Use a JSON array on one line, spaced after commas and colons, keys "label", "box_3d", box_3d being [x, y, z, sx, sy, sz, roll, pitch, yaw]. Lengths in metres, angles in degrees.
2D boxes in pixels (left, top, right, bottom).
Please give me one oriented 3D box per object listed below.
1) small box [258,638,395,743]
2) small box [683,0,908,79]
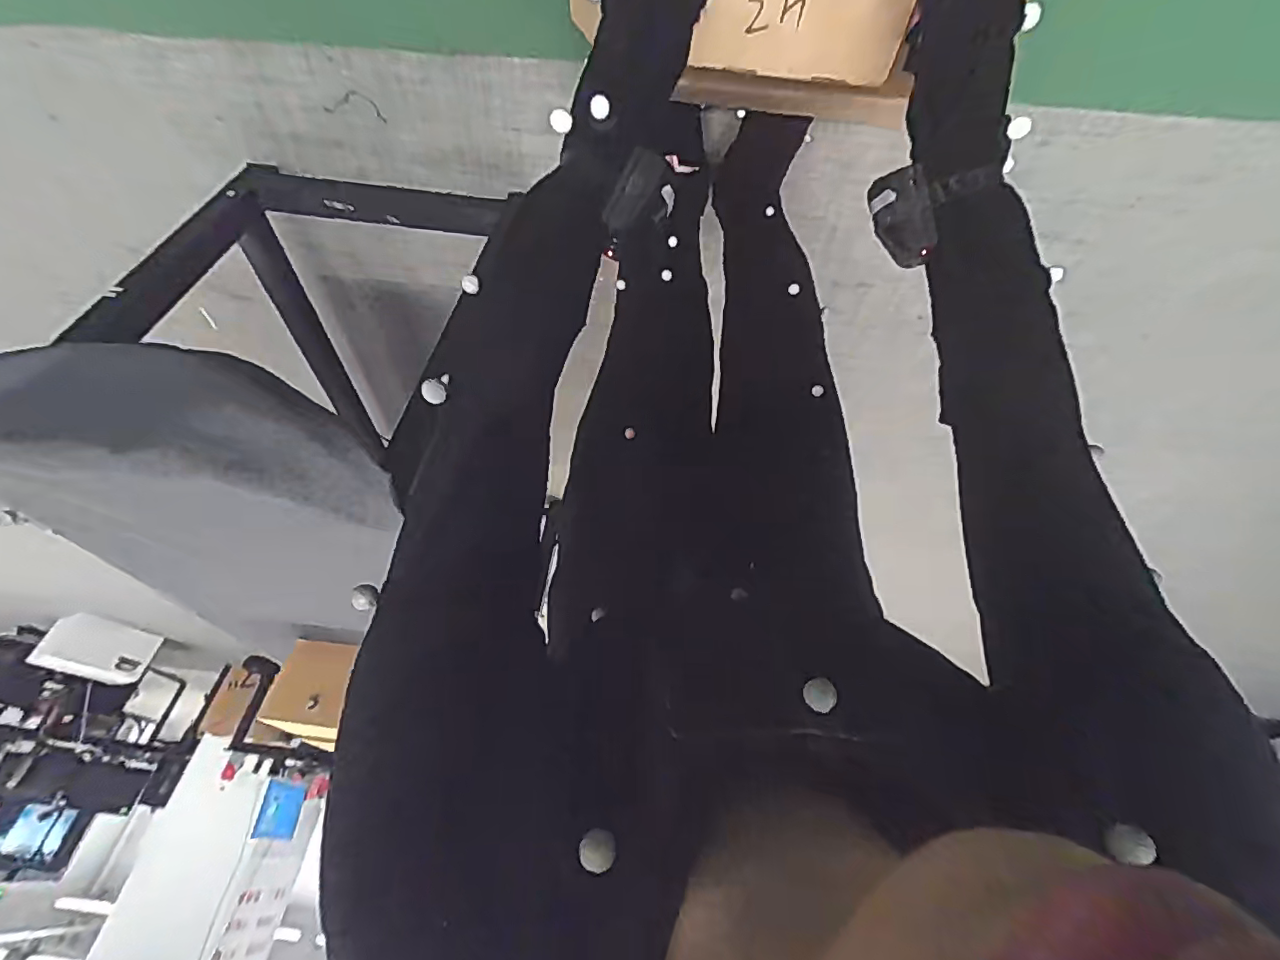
[{"label": "small box", "box_3d": [-0.665, 0.454, 1.170, 0.179, 0.176, 0.168, 7, 145, 0]}, {"label": "small box", "box_3d": [0.127, -0.450, 0.419, 0.168, 0.176, 0.179, 6, 143, 0]}]
